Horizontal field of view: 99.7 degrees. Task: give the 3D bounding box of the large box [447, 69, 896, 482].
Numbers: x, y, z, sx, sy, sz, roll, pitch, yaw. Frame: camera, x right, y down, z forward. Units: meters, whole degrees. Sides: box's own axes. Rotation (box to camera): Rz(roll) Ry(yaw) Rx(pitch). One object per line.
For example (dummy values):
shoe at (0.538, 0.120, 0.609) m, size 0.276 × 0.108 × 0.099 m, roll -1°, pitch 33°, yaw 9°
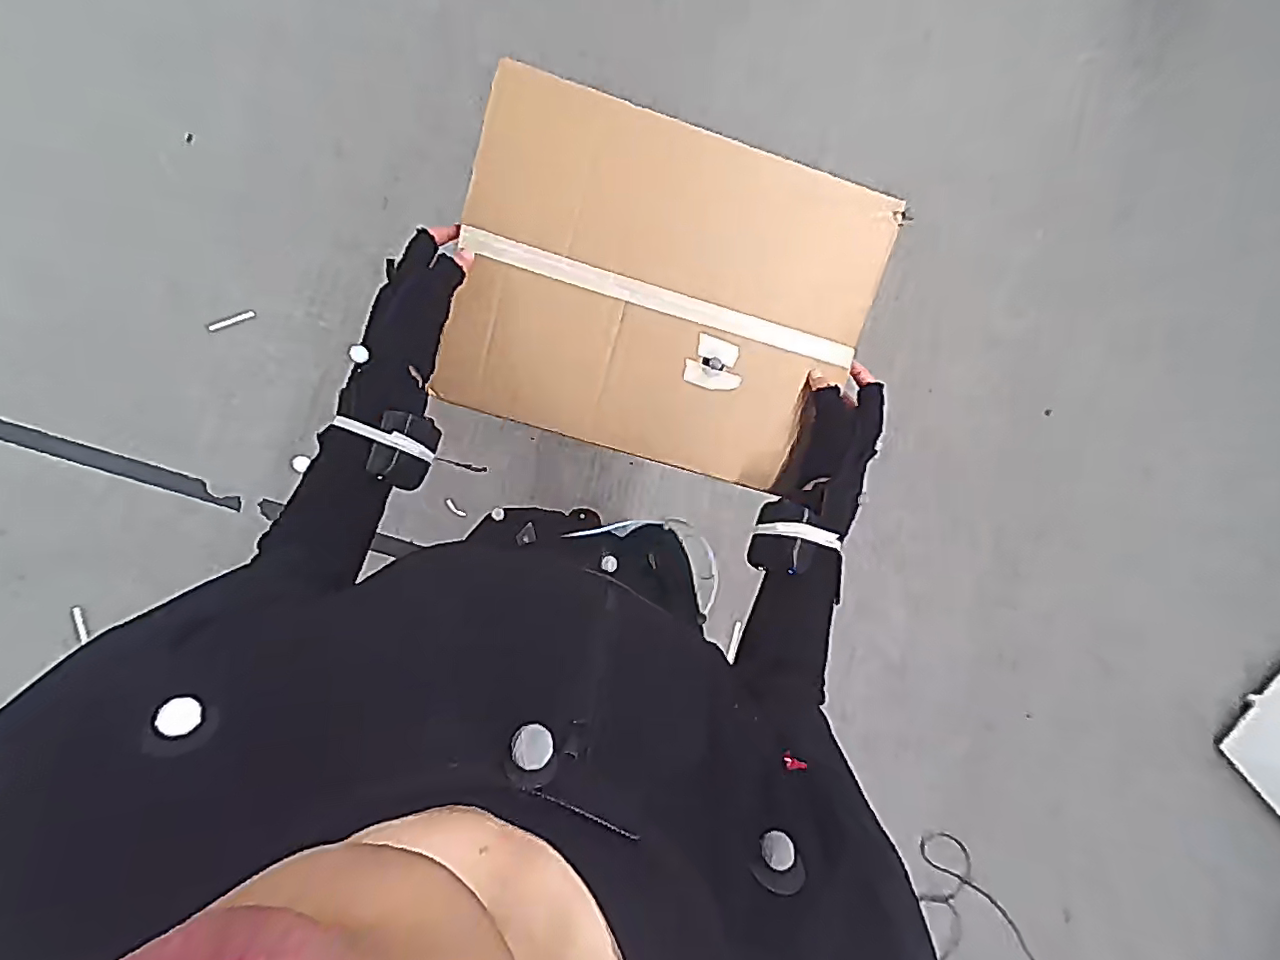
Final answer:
large box at (0.018, -0.221, 0.696) m, size 0.408 × 0.320 × 0.320 m, roll 16°, pitch 102°, yaw -8°
